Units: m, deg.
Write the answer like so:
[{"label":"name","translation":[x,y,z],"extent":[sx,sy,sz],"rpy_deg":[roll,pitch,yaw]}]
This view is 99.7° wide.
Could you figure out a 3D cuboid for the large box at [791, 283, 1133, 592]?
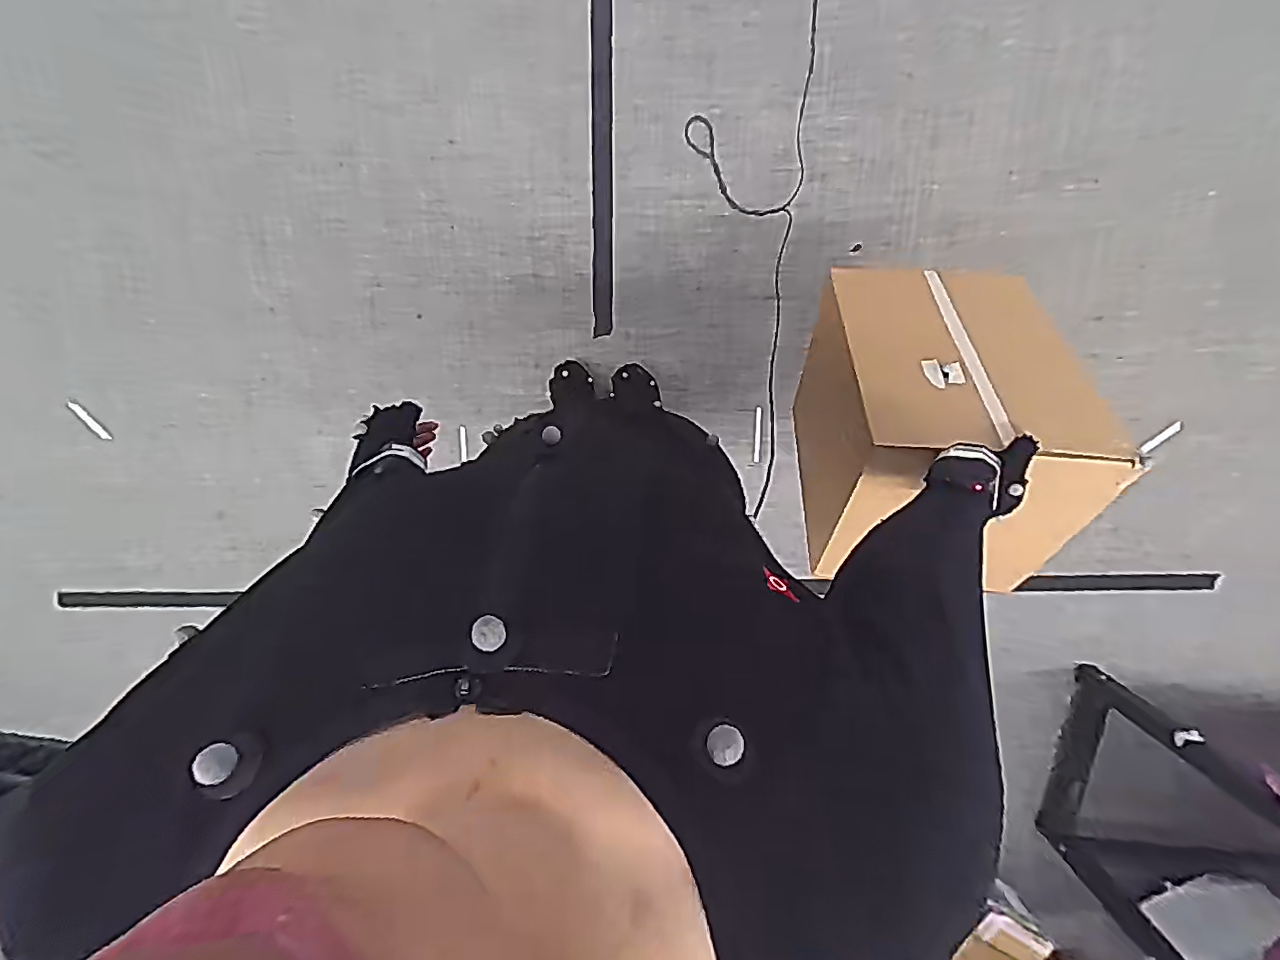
[{"label":"large box","translation":[0.454,-0.074,0.893],"extent":[0.320,0.408,0.320],"rpy_deg":[3,141,4]}]
